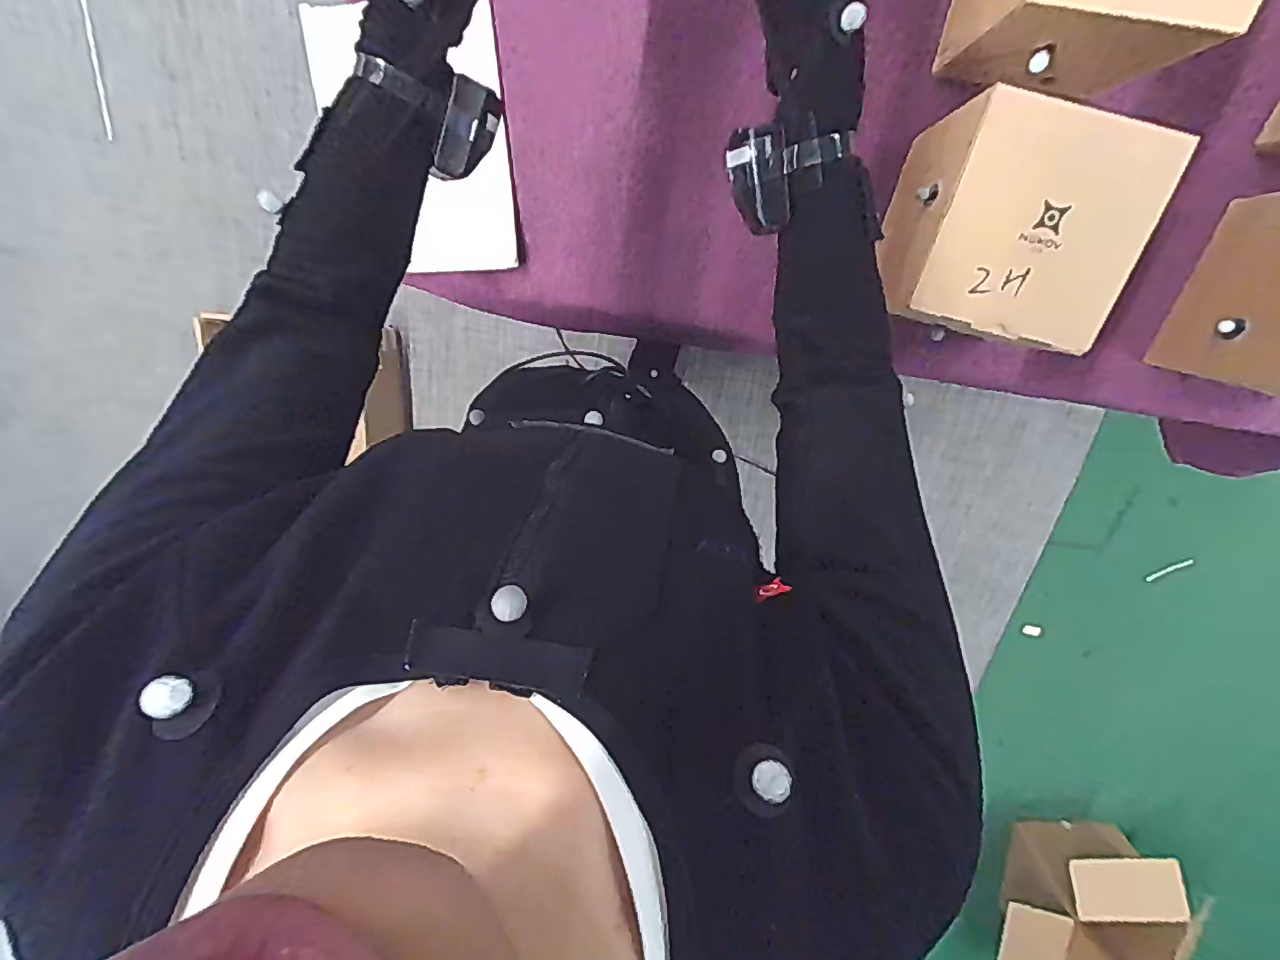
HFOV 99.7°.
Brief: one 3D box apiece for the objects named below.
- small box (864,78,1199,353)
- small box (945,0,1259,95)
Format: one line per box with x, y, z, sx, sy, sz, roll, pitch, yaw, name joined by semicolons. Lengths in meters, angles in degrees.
0.342;-0.237;0.521;0.168;0.176;0.179;15;110;0;small box
0.384;-0.448;0.444;0.168;0.176;0.179;10;111;2;small box
